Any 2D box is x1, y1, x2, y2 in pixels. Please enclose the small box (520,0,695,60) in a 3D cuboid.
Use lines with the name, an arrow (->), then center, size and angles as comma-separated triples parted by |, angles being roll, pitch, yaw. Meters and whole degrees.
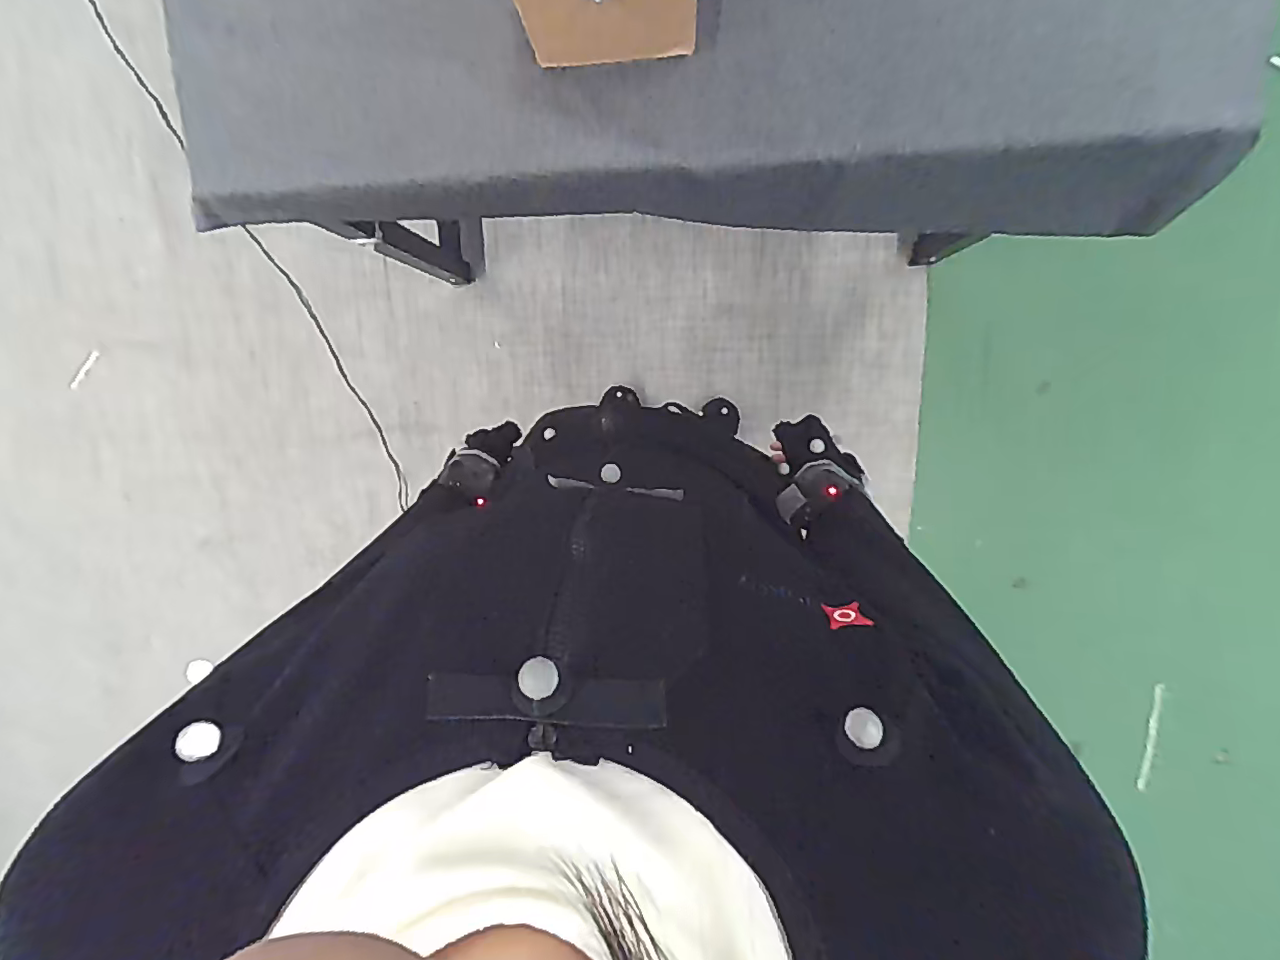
small box -> -0.035, -0.536, 0.512 | 0.179, 0.176, 0.168 | -2, 101, 3
